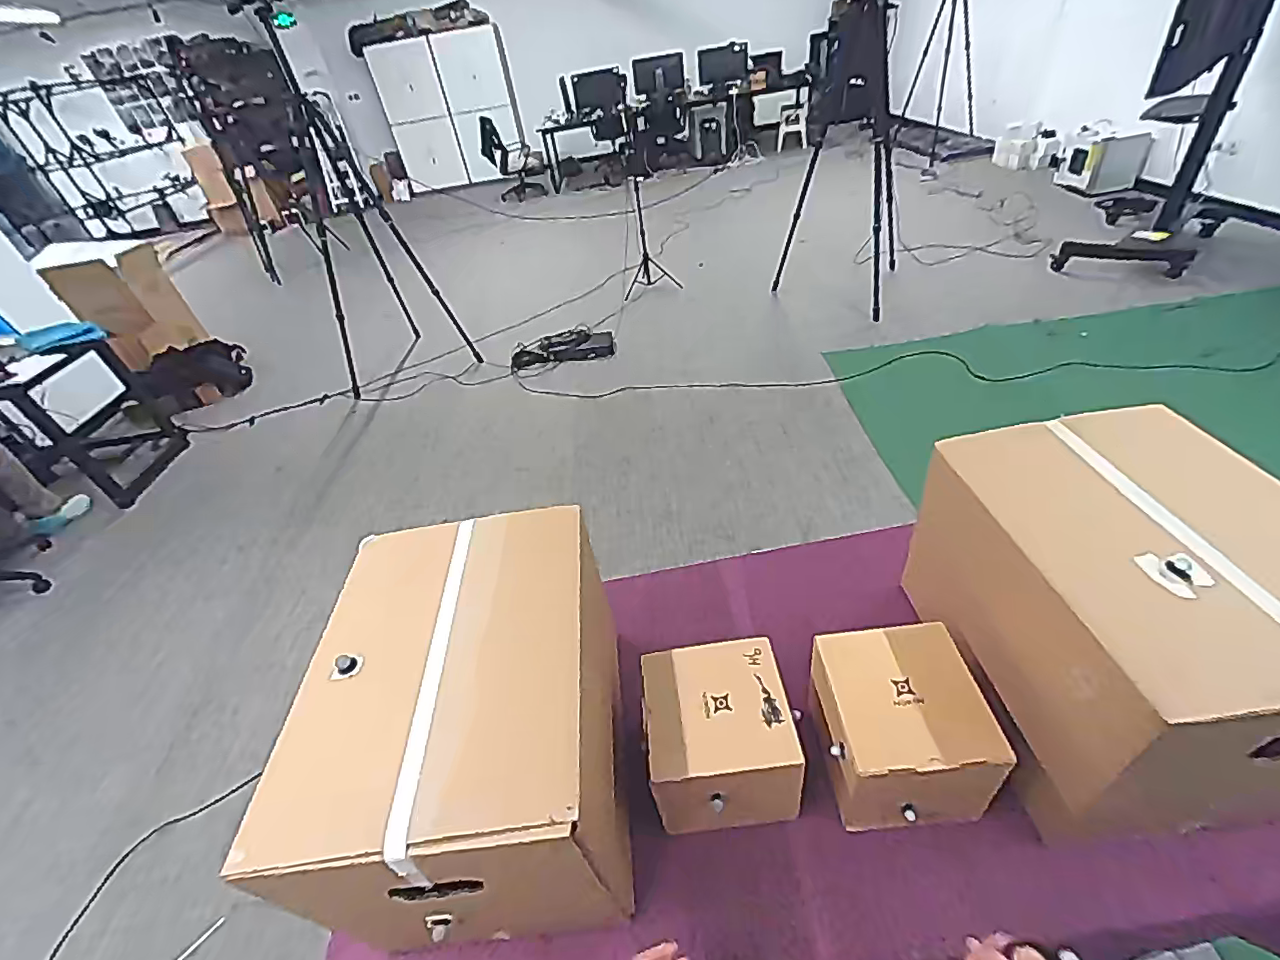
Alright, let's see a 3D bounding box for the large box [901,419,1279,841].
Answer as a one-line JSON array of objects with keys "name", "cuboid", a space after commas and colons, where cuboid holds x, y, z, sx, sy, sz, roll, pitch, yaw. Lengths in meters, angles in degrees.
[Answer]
[{"name": "large box", "cuboid": [0.597, 0.174, 0.694, 0.320, 0.320, 0.408, -9, 40, 2]}]
